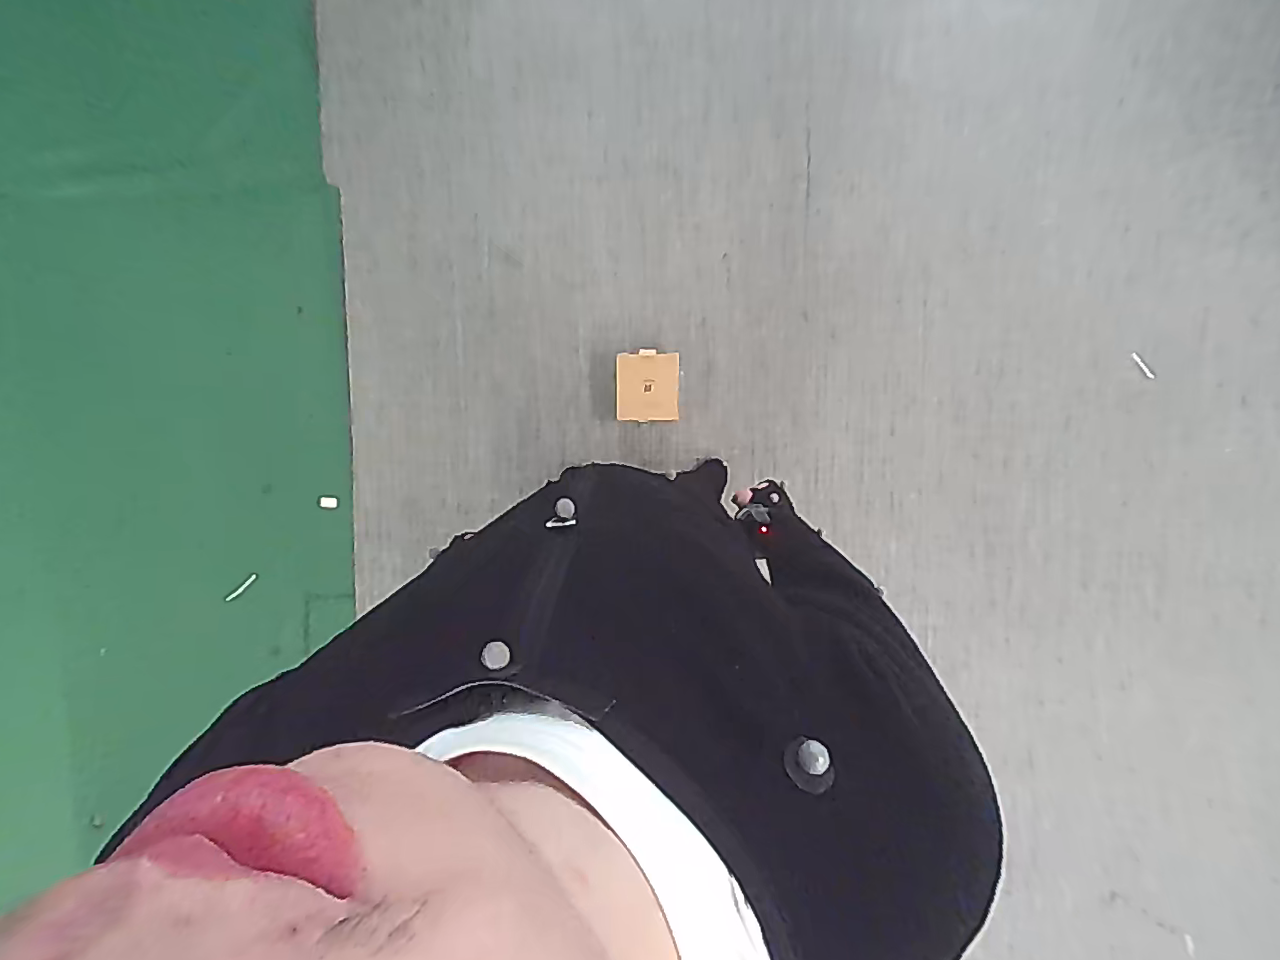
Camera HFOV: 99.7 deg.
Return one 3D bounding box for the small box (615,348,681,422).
[{"bbox_3d":[0.022,-0.253,1.467,0.168,0.176,0.179,2,94,3],"label":"small box"}]
